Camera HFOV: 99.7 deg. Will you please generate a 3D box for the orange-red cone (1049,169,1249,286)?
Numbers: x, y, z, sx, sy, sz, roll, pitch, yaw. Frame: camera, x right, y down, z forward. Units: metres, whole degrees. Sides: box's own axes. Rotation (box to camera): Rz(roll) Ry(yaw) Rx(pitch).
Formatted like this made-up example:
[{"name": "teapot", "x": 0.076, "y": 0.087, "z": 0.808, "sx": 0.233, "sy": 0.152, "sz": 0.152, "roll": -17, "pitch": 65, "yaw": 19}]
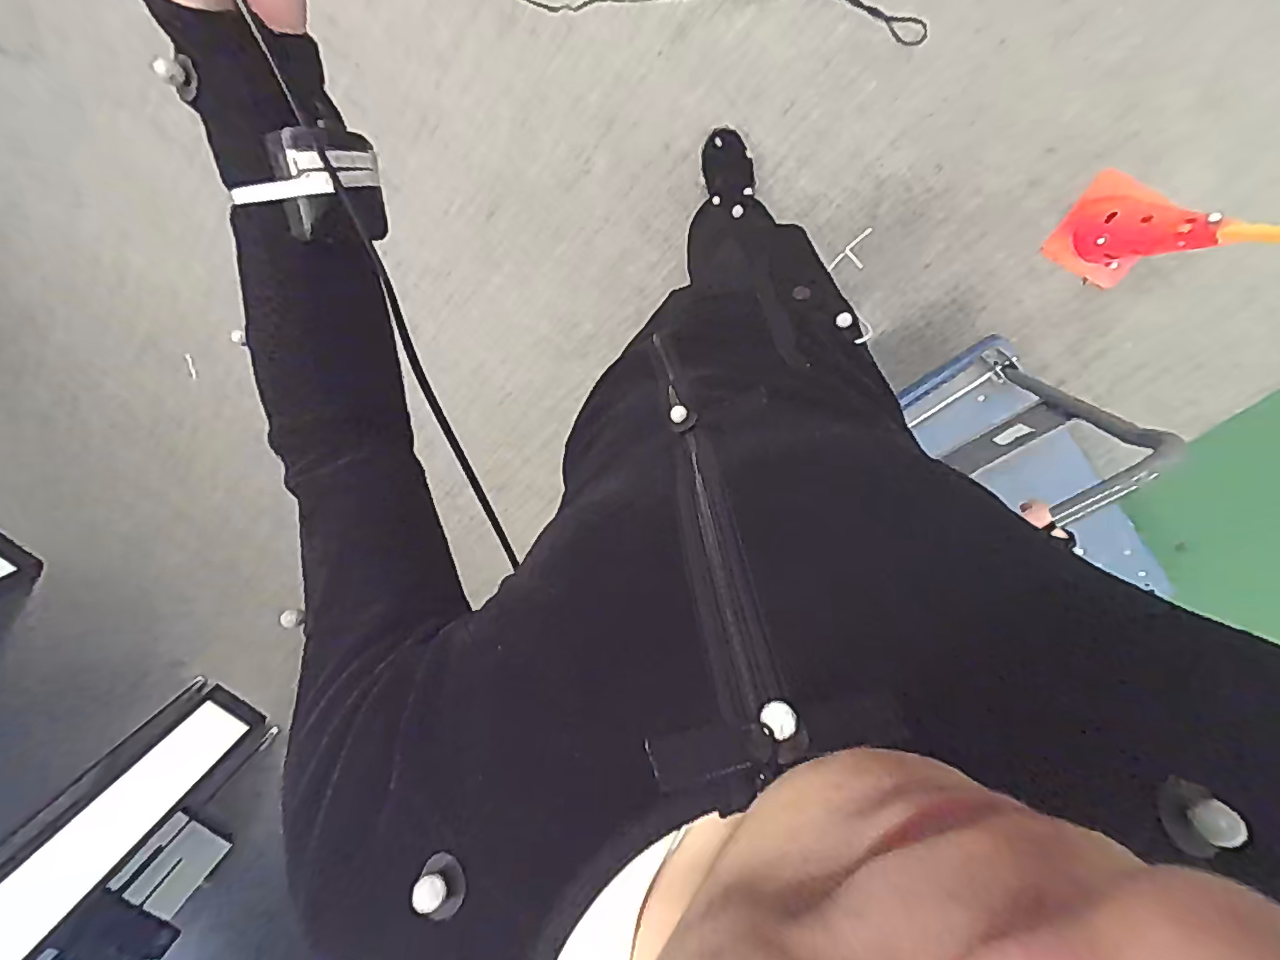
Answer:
[{"name": "orange-red cone", "x": 1.052, "y": -0.502, "z": 1.083, "sx": 0.198, "sy": 0.360, "sz": 0.199, "roll": 29, "pitch": 116, "yaw": -4}]
